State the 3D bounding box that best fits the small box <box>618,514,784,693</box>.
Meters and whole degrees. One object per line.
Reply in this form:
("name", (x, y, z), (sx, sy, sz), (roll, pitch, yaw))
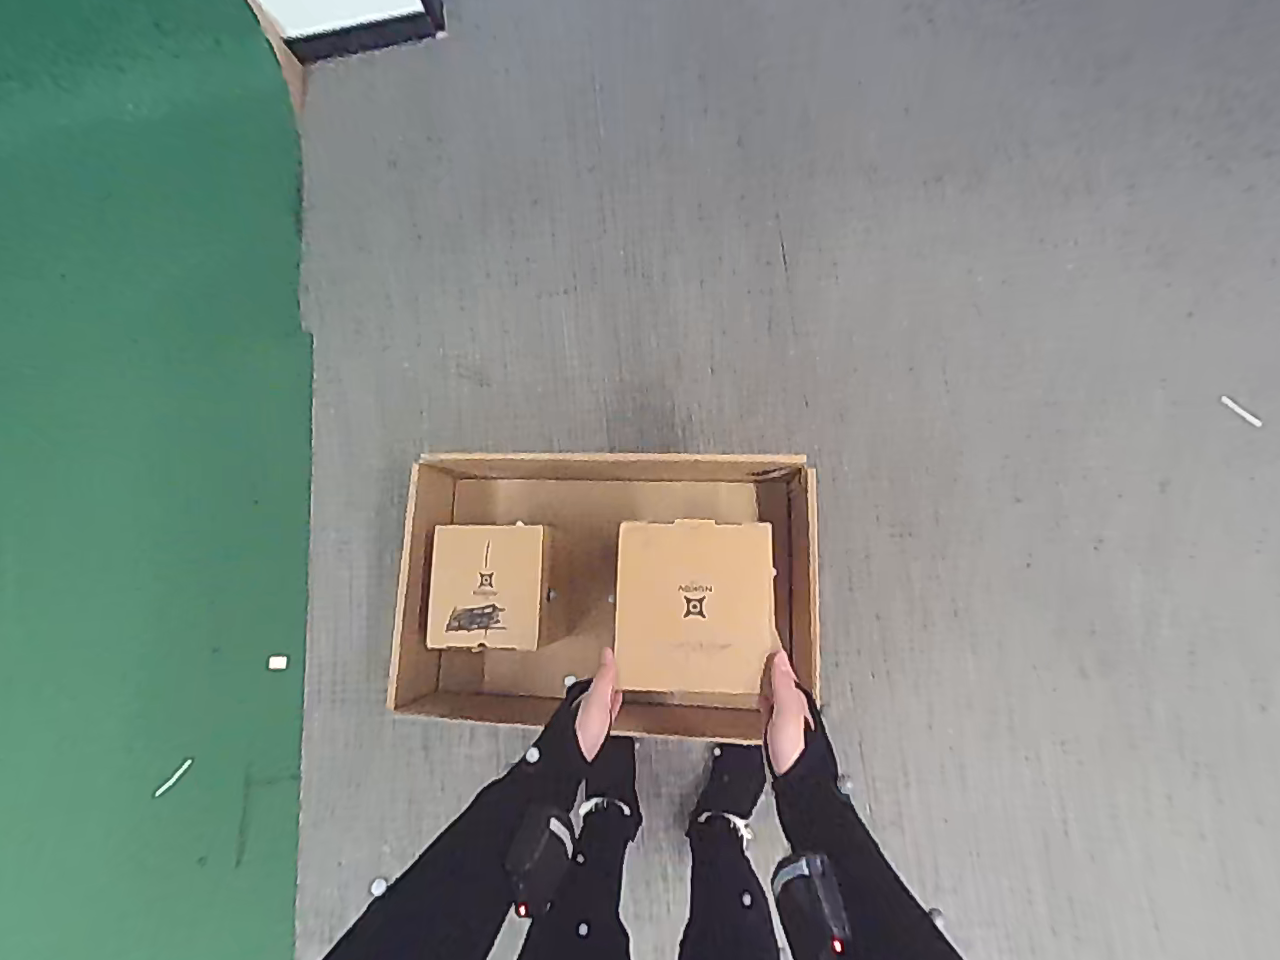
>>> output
("small box", (0.067, 0.146, 0.630), (0.168, 0.176, 0.179), (1, 73, 4))
